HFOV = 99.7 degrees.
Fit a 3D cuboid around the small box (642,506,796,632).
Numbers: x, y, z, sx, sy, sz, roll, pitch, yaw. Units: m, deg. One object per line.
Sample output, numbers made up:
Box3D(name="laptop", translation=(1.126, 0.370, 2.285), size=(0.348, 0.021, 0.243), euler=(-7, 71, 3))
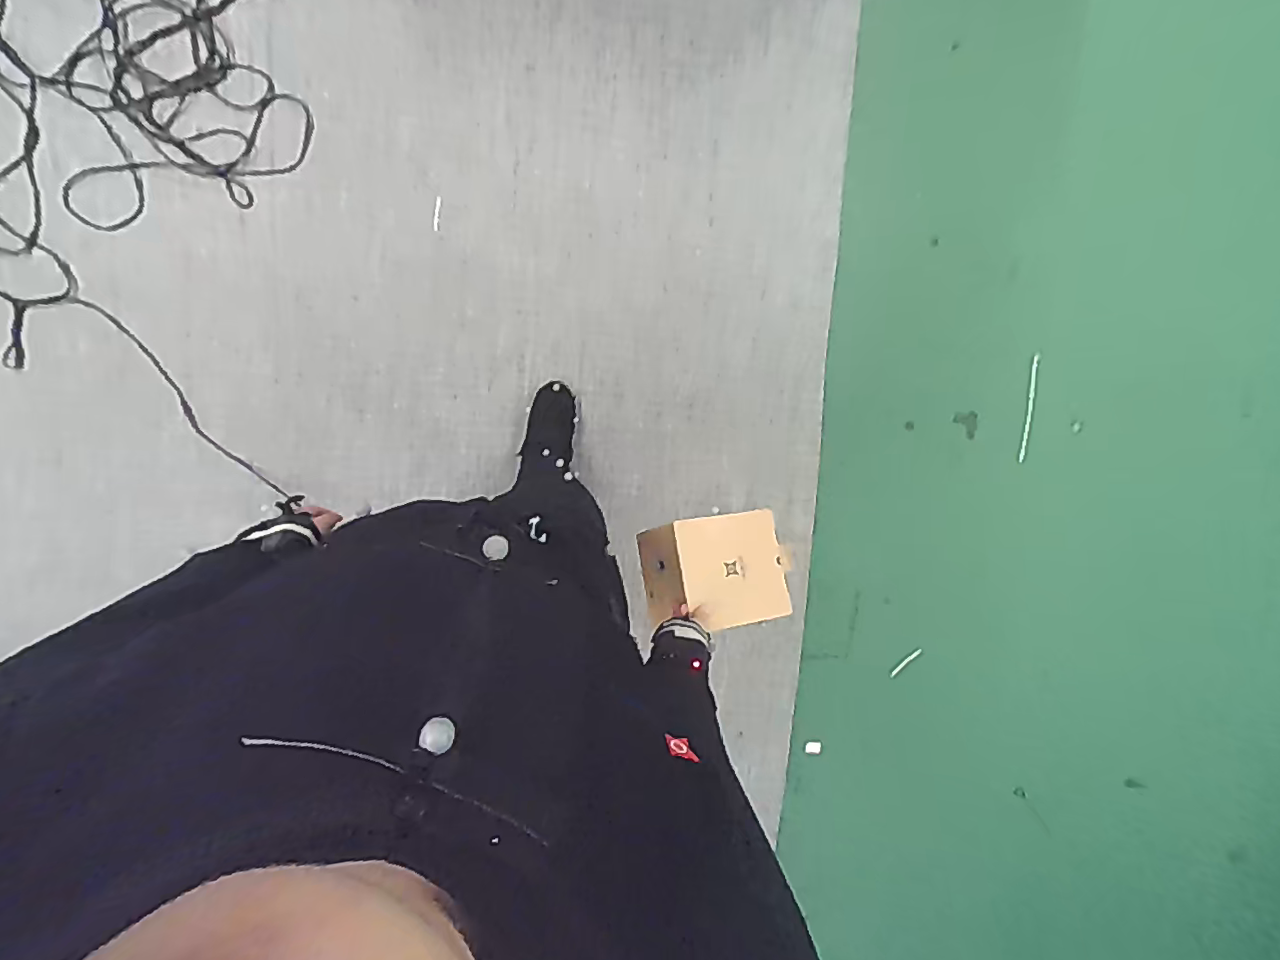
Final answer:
Box3D(name="small box", translation=(0.113, 0.144, 0.863), size=(0.179, 0.176, 0.168), euler=(-6, 79, -23))
